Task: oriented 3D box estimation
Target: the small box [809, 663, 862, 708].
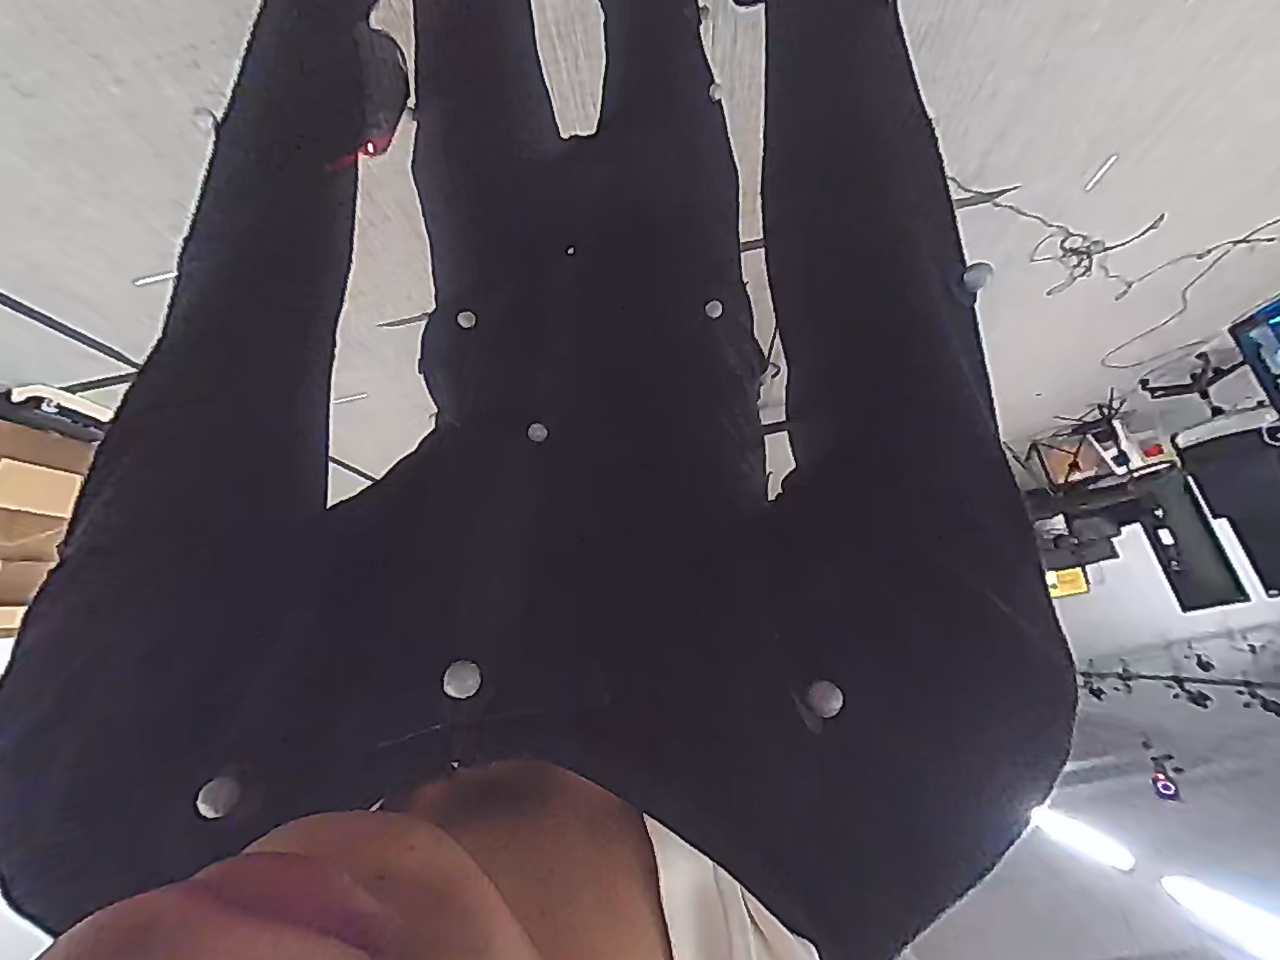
[{"bbox_3d":[0.917,0.970,2.555,0.179,0.176,0.168,-12,162,2],"label":"small box"}]
